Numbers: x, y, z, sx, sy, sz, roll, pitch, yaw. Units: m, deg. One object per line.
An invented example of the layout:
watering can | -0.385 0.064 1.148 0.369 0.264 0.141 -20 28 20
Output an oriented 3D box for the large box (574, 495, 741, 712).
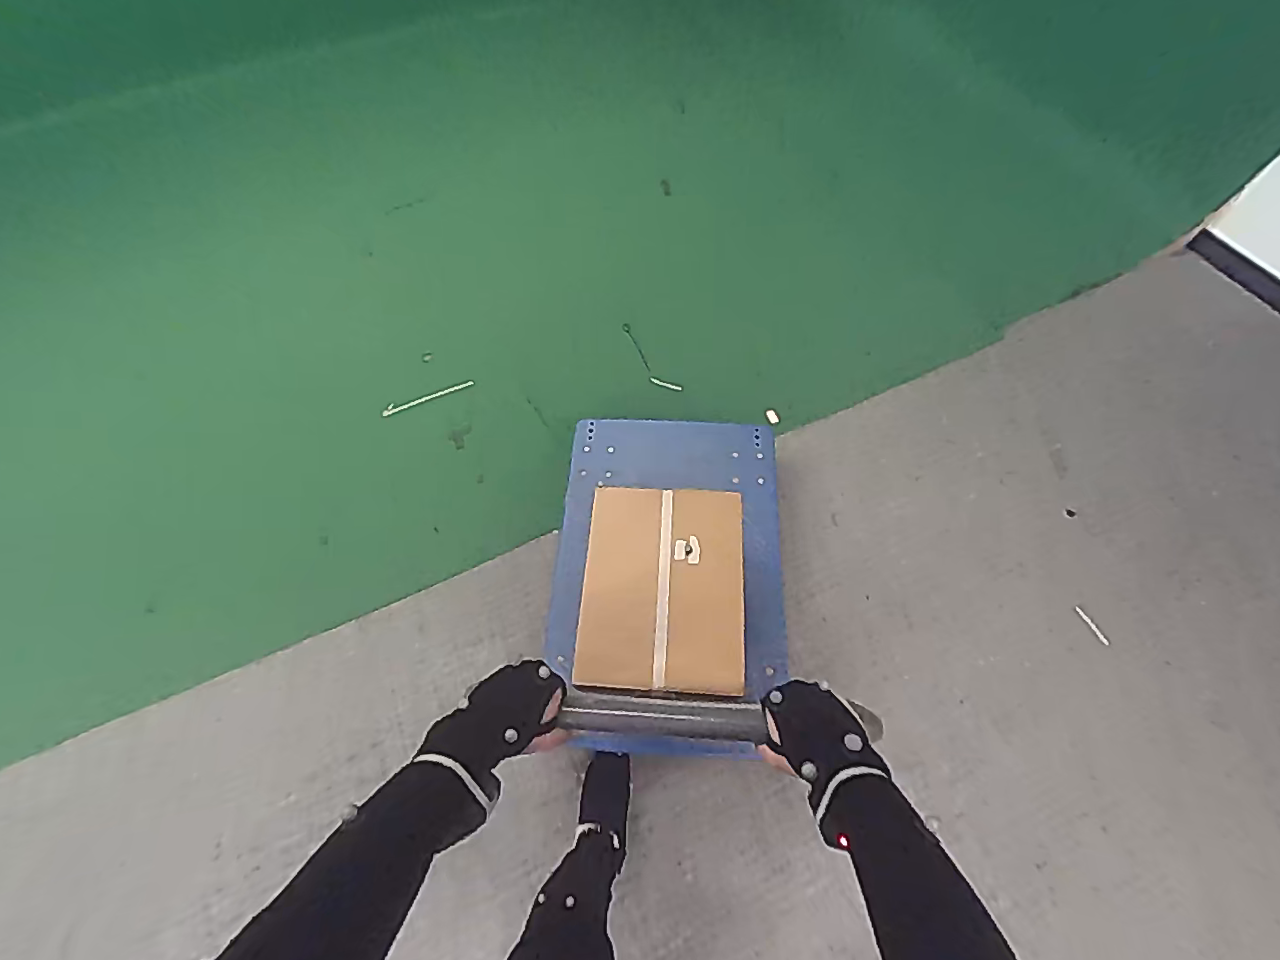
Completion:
large box | 0.049 0.284 1.208 0.320 0.320 0.408 3 62 4
